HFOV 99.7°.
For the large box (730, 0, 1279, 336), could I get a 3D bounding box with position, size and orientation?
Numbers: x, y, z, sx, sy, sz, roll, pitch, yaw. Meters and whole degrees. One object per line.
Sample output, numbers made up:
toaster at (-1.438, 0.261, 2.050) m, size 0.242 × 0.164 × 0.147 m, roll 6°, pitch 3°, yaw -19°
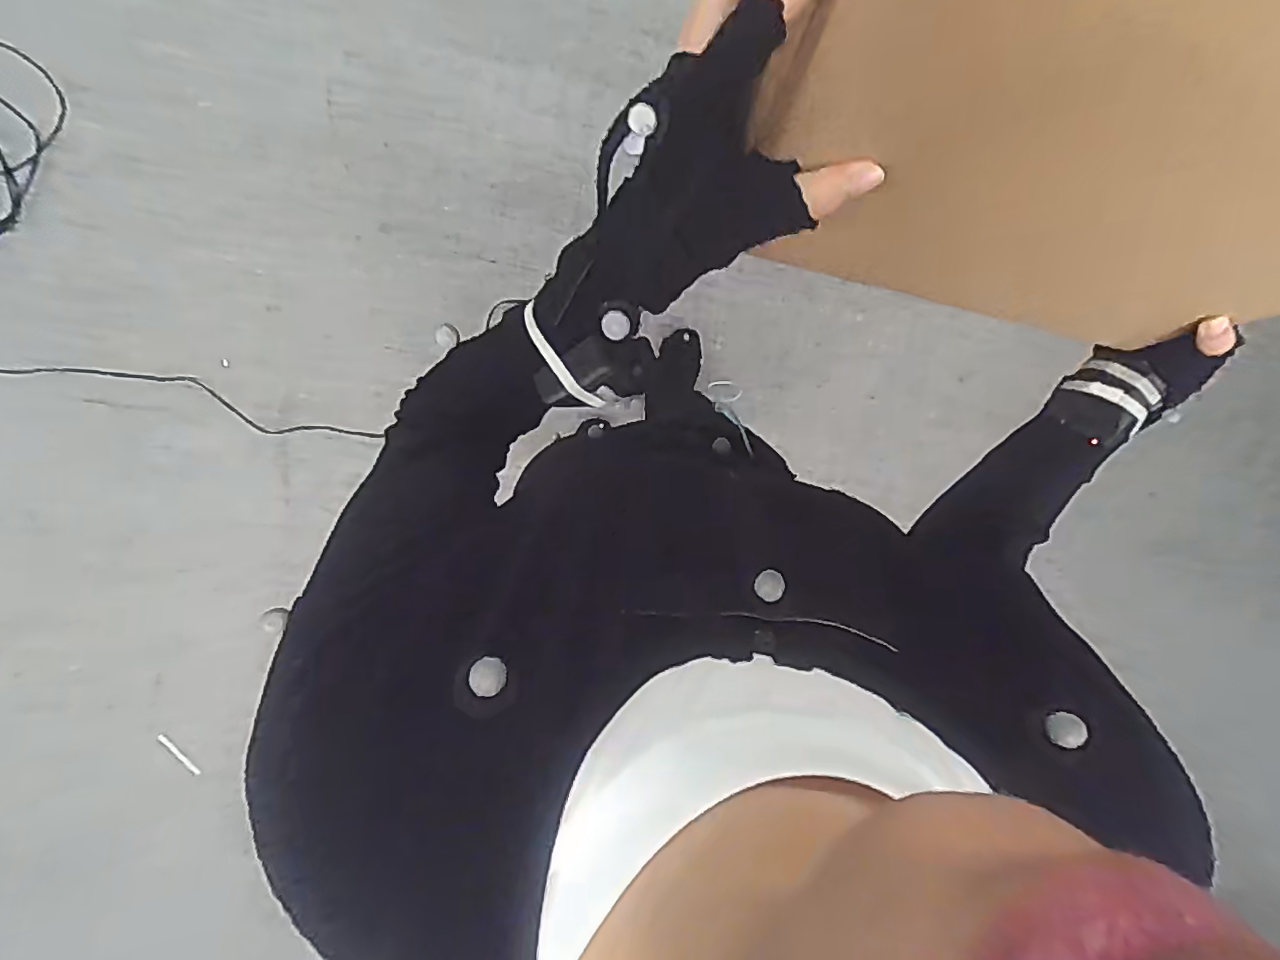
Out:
large box at (0.289, -0.287, 0.256) m, size 0.408 × 0.320 × 0.320 m, roll 3°, pitch 85°, yaw -24°
